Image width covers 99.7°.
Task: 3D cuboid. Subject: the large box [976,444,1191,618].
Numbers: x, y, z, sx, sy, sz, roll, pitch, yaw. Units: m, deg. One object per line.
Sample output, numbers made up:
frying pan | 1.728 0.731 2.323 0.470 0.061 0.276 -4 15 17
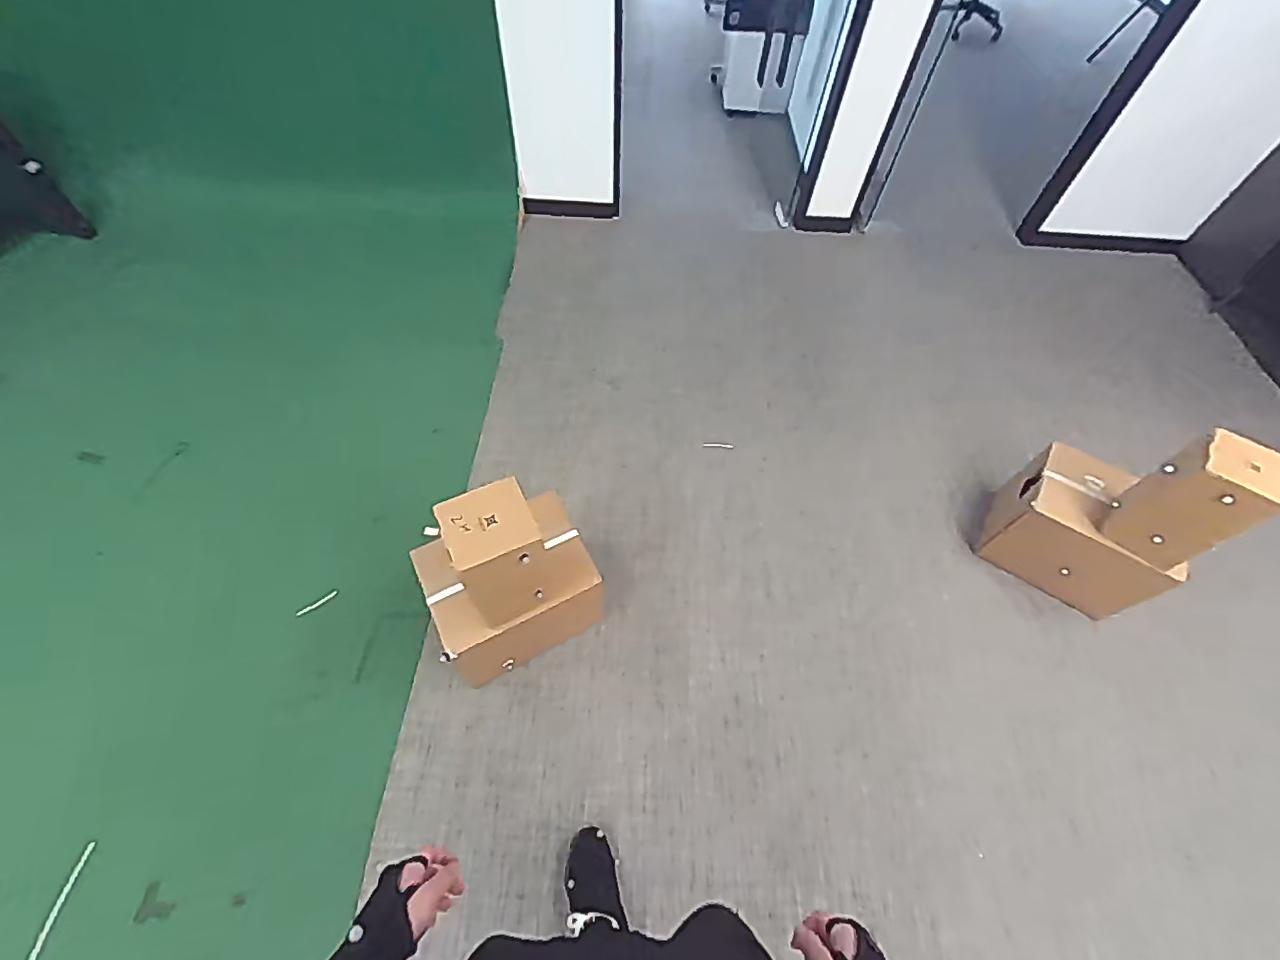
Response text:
large box | 1.366 0.163 1.690 0.408 0.320 0.320 30 59 17

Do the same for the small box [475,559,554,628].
small box | -0.310 0.217 1.263 0.179 0.176 0.168 -24 62 -17

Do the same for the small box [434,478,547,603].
small box | -0.302 0.129 1.125 0.179 0.176 0.168 -22 60 -17

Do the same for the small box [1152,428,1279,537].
small box | 1.407 0.014 1.301 0.179 0.176 0.168 33 62 19
